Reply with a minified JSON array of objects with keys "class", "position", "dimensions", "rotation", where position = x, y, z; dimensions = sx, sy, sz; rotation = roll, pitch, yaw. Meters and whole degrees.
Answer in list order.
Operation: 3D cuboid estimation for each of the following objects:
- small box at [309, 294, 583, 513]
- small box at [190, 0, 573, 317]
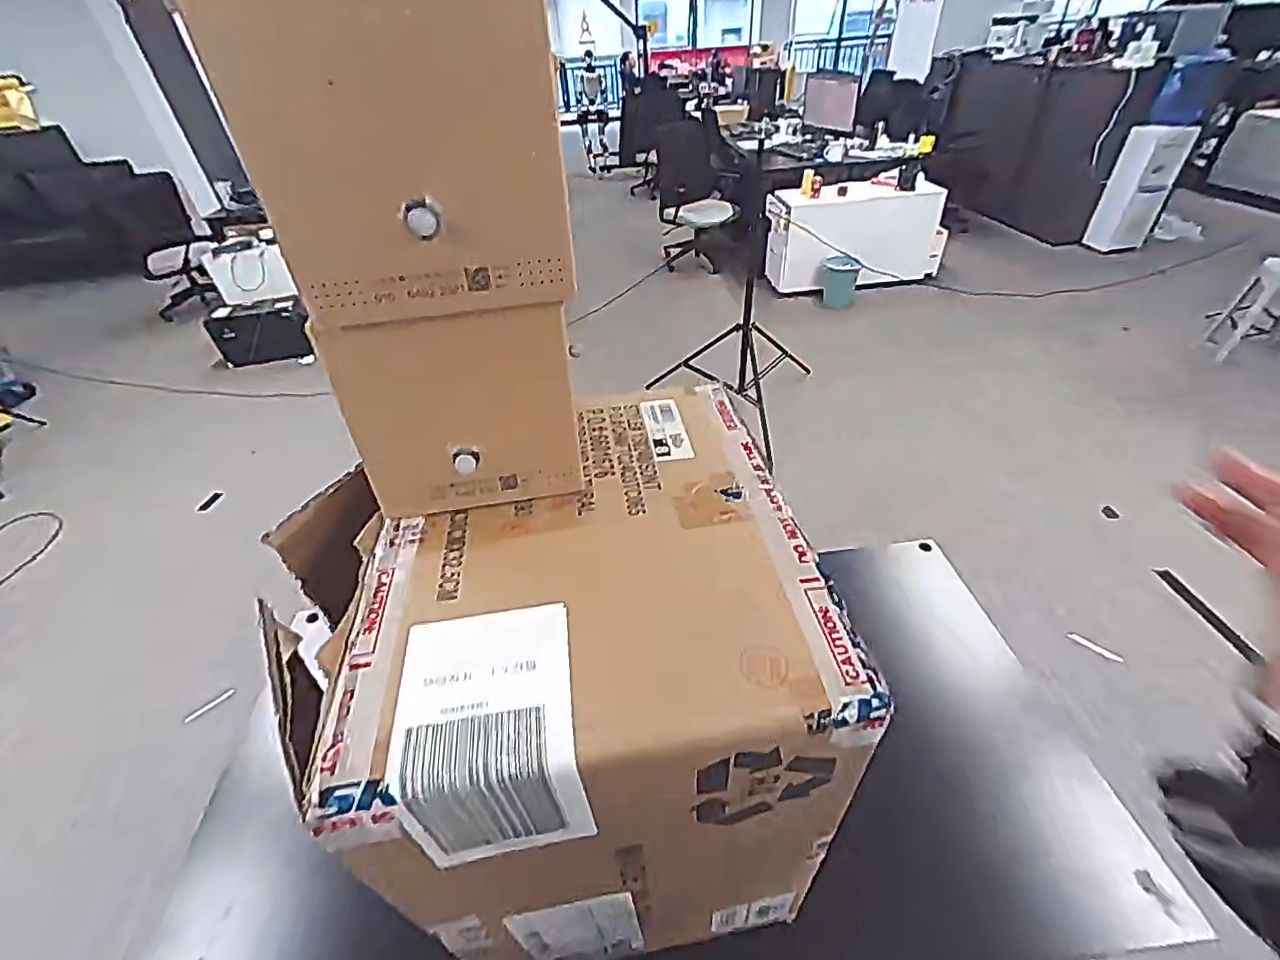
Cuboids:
[{"class":"small box","position":[-0.144,-0.095,0.467],"dimensions":[0.168,0.176,0.179],"rotation":[-9,38,-7]},{"class":"small box","position":[-0.143,-0.222,0.360],"dimensions":[0.168,0.176,0.179],"rotation":[-10,38,-9]}]
